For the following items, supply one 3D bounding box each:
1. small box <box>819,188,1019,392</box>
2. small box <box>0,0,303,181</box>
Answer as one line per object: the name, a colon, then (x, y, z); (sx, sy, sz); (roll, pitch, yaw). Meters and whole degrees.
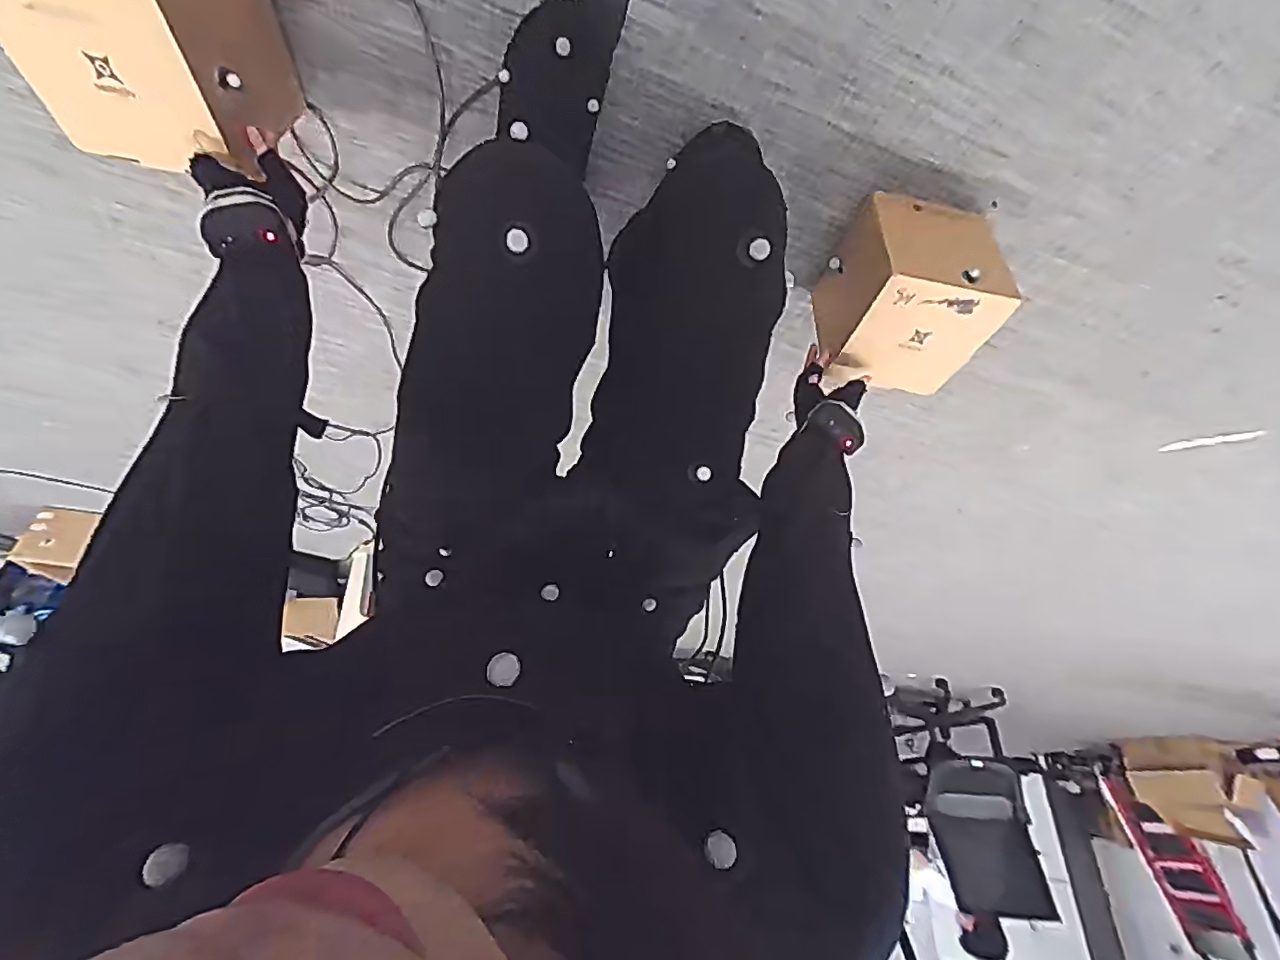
small box: (0.353, -0.248, 0.725); (0.168, 0.176, 0.179); (9, 149, -6)
small box: (-0.474, -0.439, 0.534); (0.168, 0.176, 0.179); (8, 147, -4)
